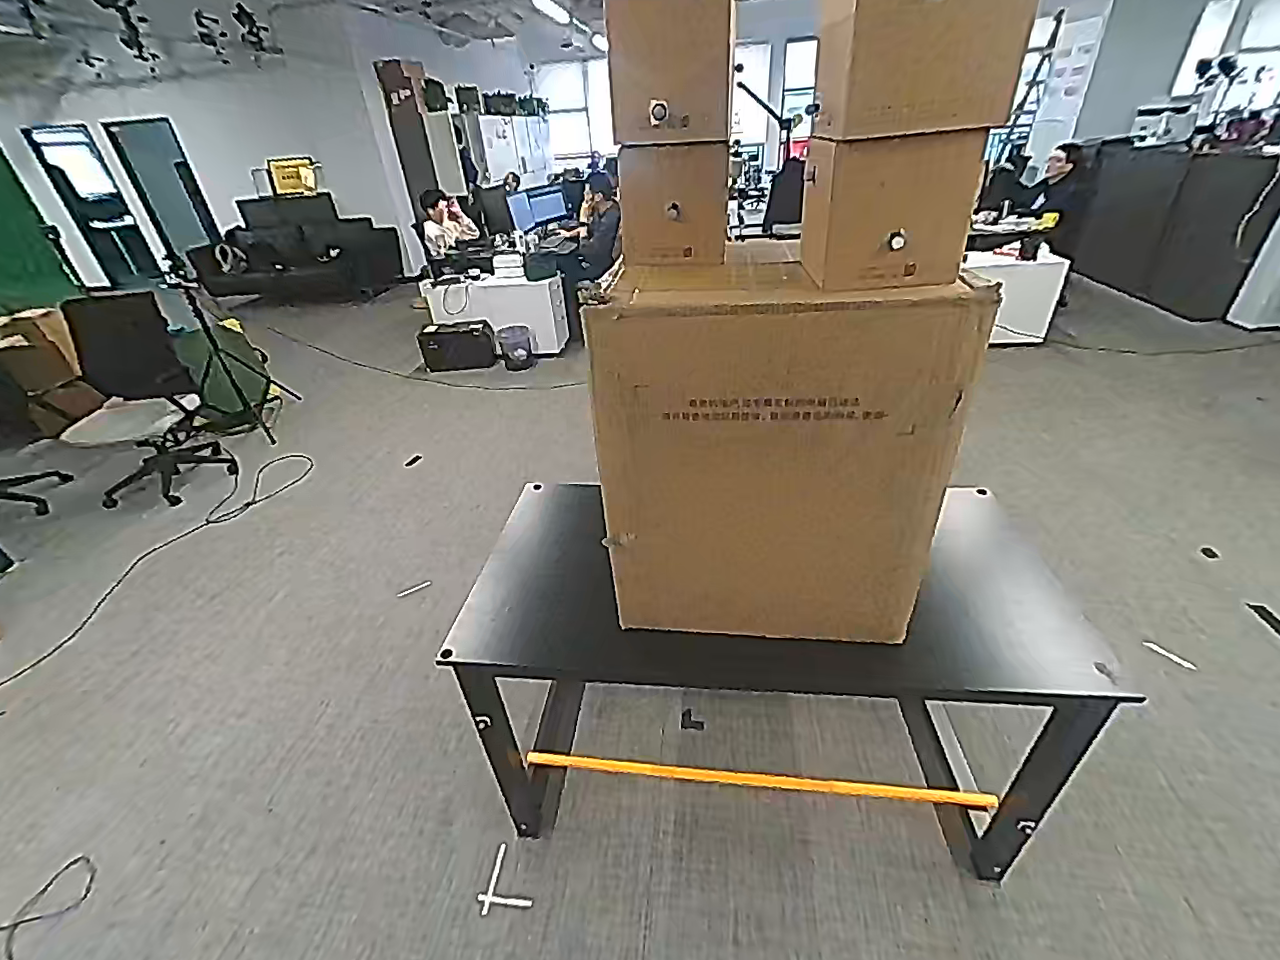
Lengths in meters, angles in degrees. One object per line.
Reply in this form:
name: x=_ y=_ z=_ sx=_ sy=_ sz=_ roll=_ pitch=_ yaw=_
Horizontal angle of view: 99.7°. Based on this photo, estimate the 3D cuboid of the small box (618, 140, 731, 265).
small box: x=0.064 y=-0.455 z=0.885 sx=0.168 sy=0.176 sz=0.179 roll=2 pitch=33 yaw=7

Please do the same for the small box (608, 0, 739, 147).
small box: x=0.056 y=-0.584 z=0.784 sx=0.168 sy=0.176 sz=0.179 roll=2 pitch=33 yaw=10

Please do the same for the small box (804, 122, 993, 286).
small box: x=0.315 y=-0.360 z=0.705 sx=0.168 sy=0.176 sz=0.179 roll=-2 pitch=34 yaw=7

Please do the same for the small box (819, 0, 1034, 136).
small box: x=0.303 y=-0.484 z=0.595 sx=0.179 sy=0.176 sz=0.168 roll=-2 pitch=34 yaw=5
